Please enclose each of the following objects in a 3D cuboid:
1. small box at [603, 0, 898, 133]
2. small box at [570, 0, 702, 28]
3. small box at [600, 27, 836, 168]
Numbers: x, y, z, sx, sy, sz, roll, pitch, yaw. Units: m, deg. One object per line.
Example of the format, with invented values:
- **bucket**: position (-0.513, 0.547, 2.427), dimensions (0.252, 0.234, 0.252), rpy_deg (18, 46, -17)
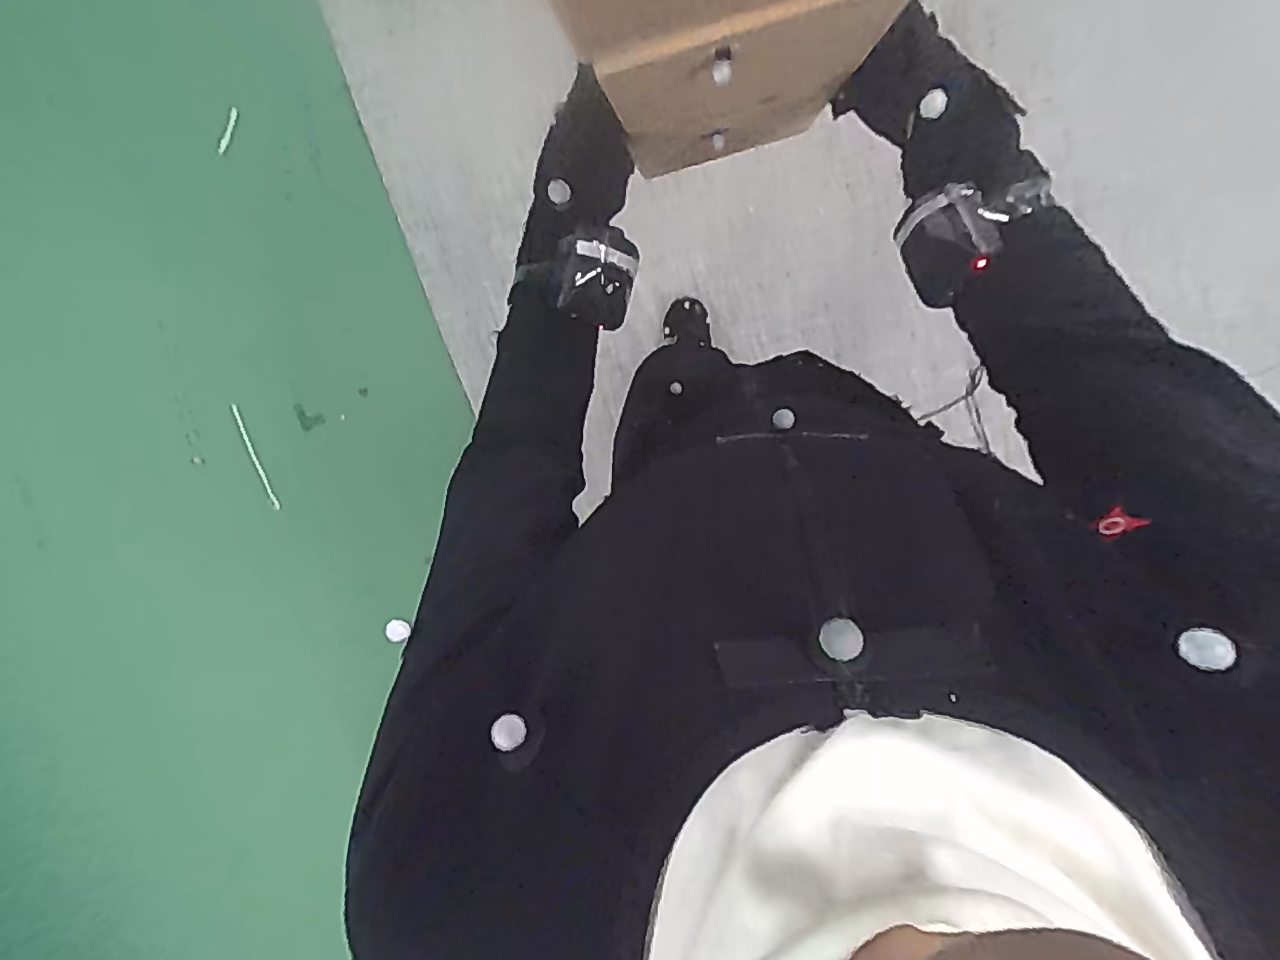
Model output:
- **small box**: position (0.049, -0.342, 0.319), dimensions (0.168, 0.176, 0.179), rpy_deg (-12, 110, 10)
- **small box**: position (0.028, -0.284, 0.166), dimensions (0.179, 0.176, 0.168), rpy_deg (-9, 111, 9)
- **small box**: position (0.061, -0.394, 0.471), dimensions (0.179, 0.176, 0.168), rpy_deg (-11, 109, 10)
